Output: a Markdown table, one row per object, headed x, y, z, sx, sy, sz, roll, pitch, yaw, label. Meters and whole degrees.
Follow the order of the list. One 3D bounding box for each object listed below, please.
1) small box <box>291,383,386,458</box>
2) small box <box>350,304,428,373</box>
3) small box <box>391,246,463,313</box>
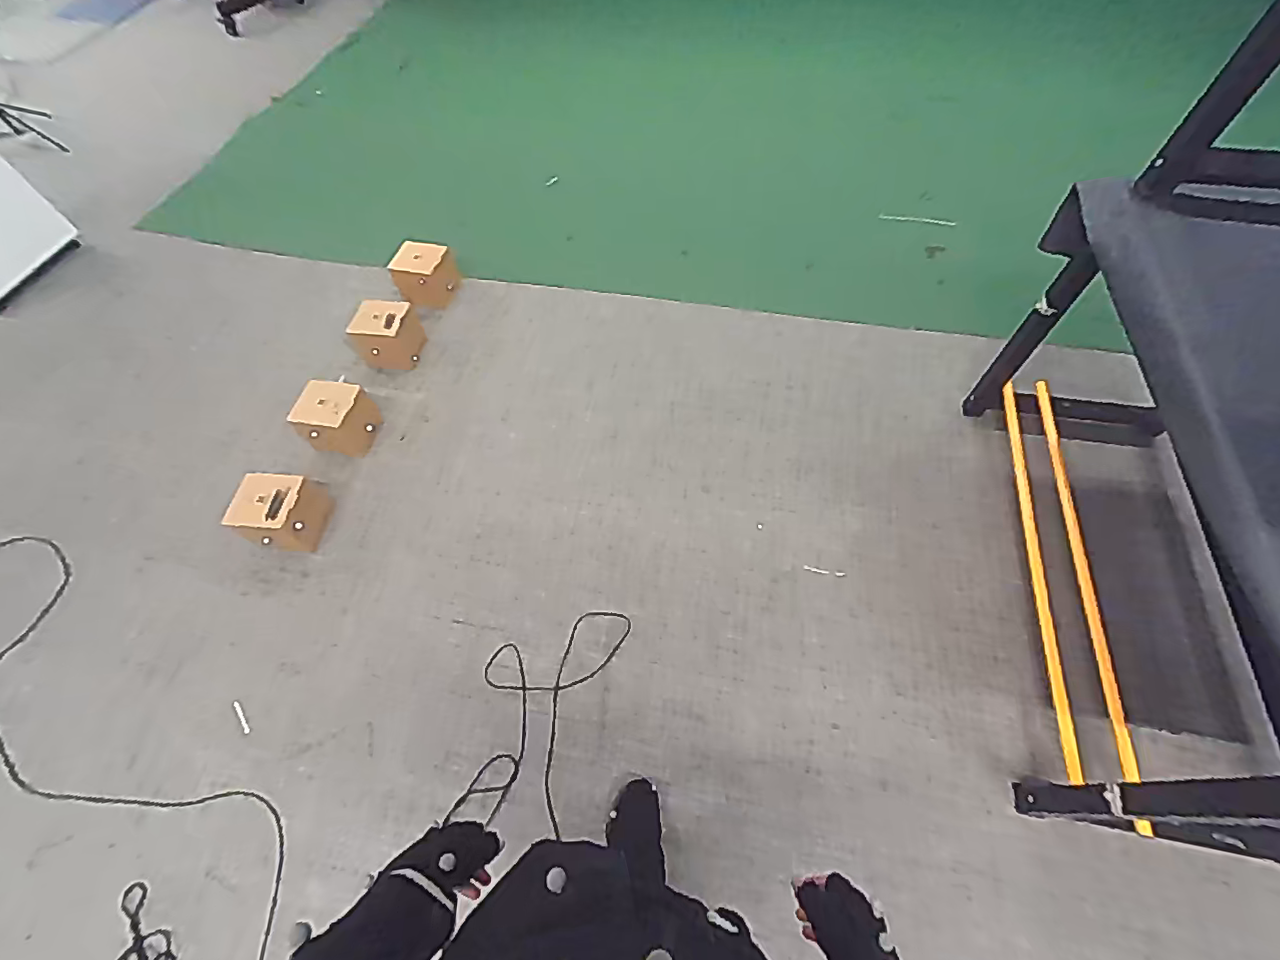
| x | y | z | sx | sy | sz | roll | pitch | yaw | label |
| --- | --- | --- | --- | --- | --- | --- | --- | --- | --- |
| -0.956 | -0.186 | 1.729 | 0.179 | 0.176 | 0.168 | 8 | 60 | 6 | small box |
| -0.881 | -0.499 | 1.920 | 0.179 | 0.176 | 0.168 | 5 | 59 | 6 | small box |
| -0.814 | -0.770 | 2.085 | 0.179 | 0.176 | 0.168 | 11 | 60 | 7 | small box |
